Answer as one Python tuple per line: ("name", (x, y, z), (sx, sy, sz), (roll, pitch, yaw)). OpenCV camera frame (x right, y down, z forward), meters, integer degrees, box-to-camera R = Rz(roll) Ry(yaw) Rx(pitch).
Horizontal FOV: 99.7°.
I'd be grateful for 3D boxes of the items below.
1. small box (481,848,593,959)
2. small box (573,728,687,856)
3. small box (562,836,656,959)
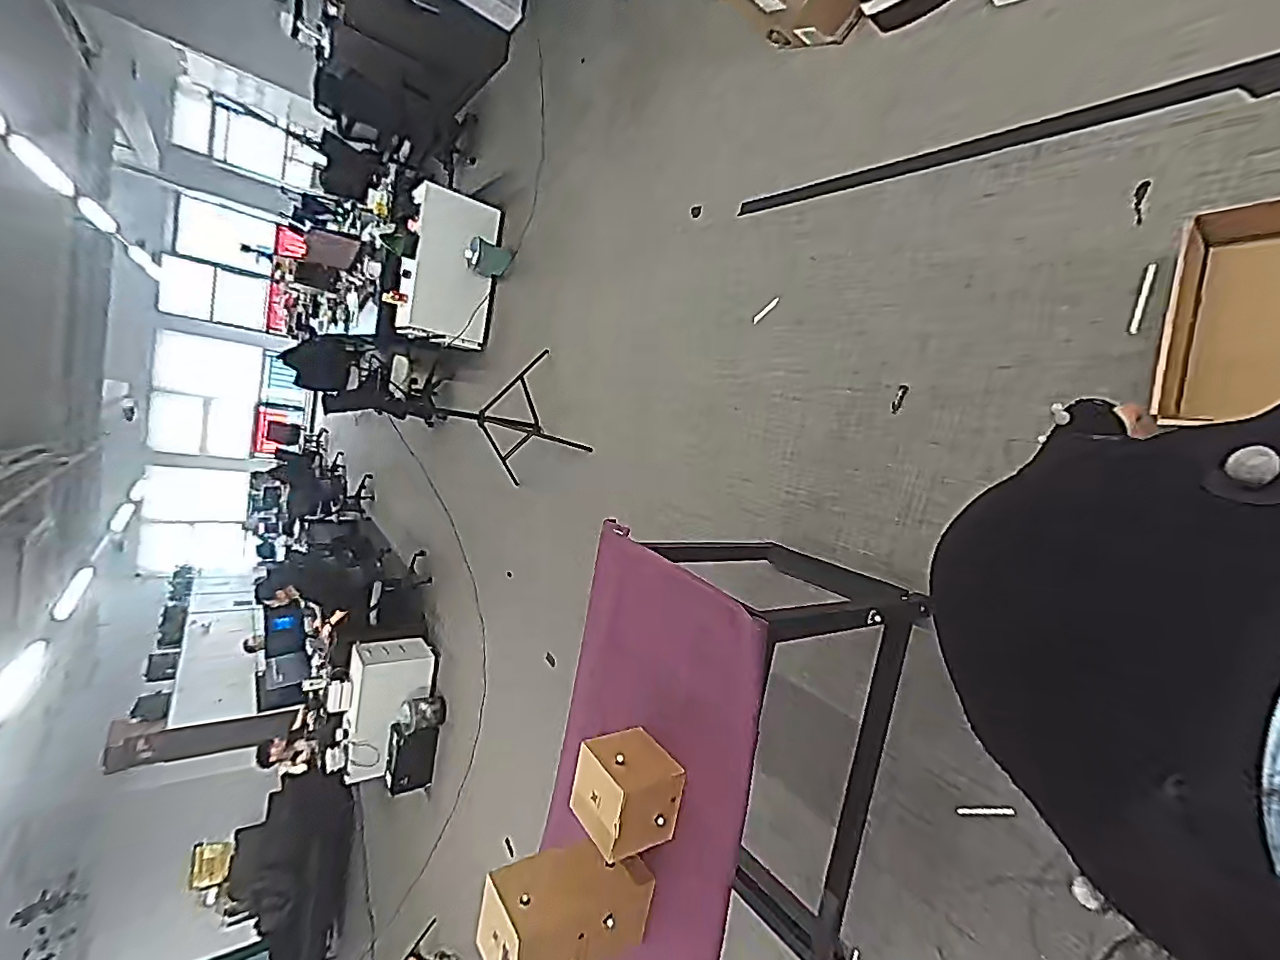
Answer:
("small box", (-0.219, 0.936, 1.154), (0.179, 0.176, 0.168), (18, 100, 53))
("small box", (-0.023, 0.678, 1.202), (0.179, 0.176, 0.168), (21, 102, 52))
("small box", (-0.084, 0.949, 1.248), (0.168, 0.176, 0.179), (21, 103, 52))
